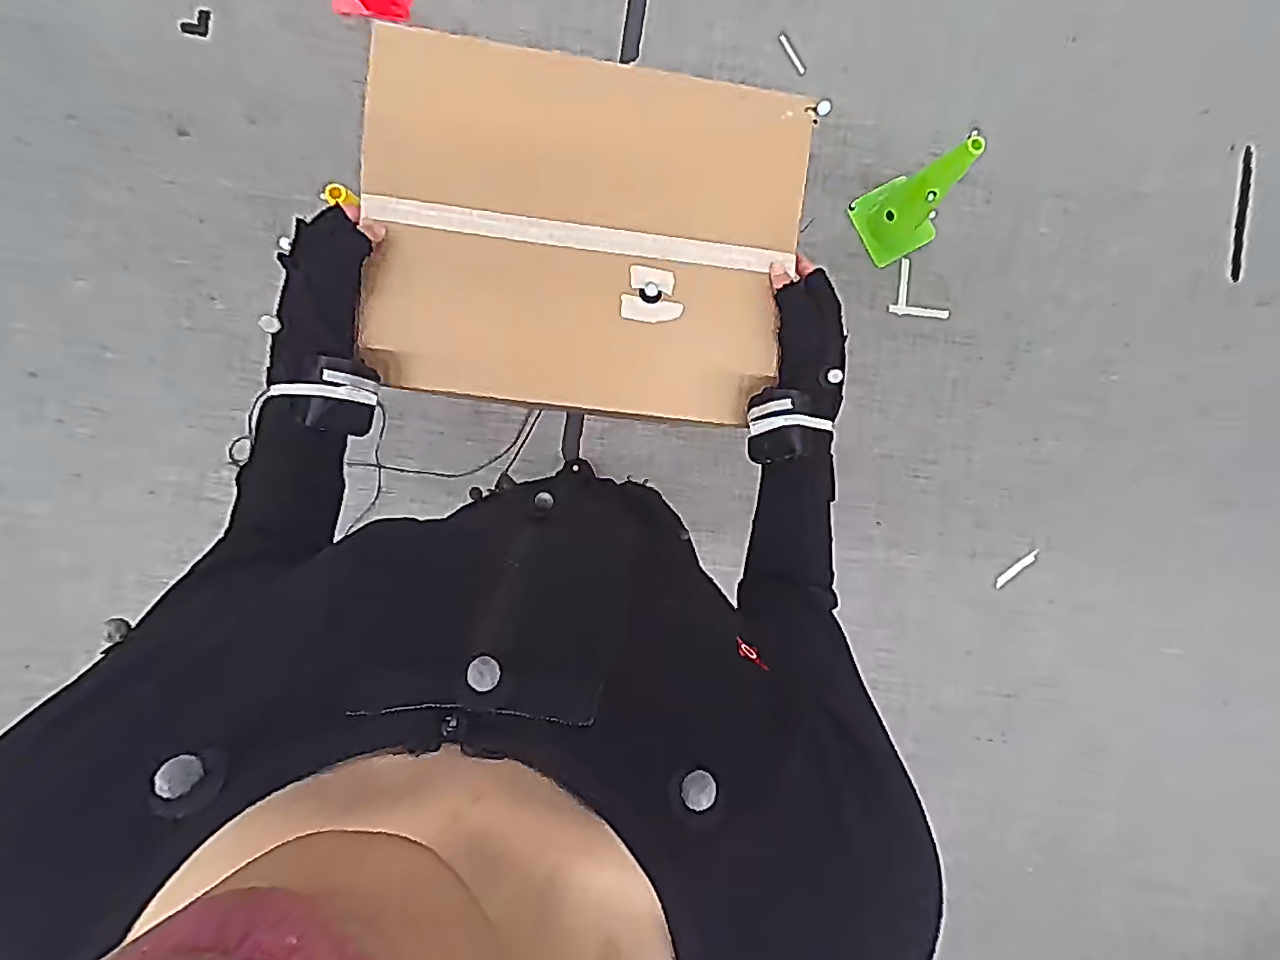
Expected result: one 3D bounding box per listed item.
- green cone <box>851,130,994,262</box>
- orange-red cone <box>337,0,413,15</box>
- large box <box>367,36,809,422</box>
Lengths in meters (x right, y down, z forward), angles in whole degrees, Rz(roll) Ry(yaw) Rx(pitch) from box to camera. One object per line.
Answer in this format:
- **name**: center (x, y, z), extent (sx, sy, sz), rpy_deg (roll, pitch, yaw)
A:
- **green cone**: center (0.726, -0.732, 1.342), extent (0.202, 0.368, 0.200), rpy_deg (-30, 93, -4)
- **orange-red cone**: center (-0.688, -1.330, 1.256), extent (0.198, 0.360, 0.199), rpy_deg (5, 92, -2)
- **large box**: center (-0.062, -0.244, 0.661), extent (0.408, 0.320, 0.320), rpy_deg (6, 96, -6)
